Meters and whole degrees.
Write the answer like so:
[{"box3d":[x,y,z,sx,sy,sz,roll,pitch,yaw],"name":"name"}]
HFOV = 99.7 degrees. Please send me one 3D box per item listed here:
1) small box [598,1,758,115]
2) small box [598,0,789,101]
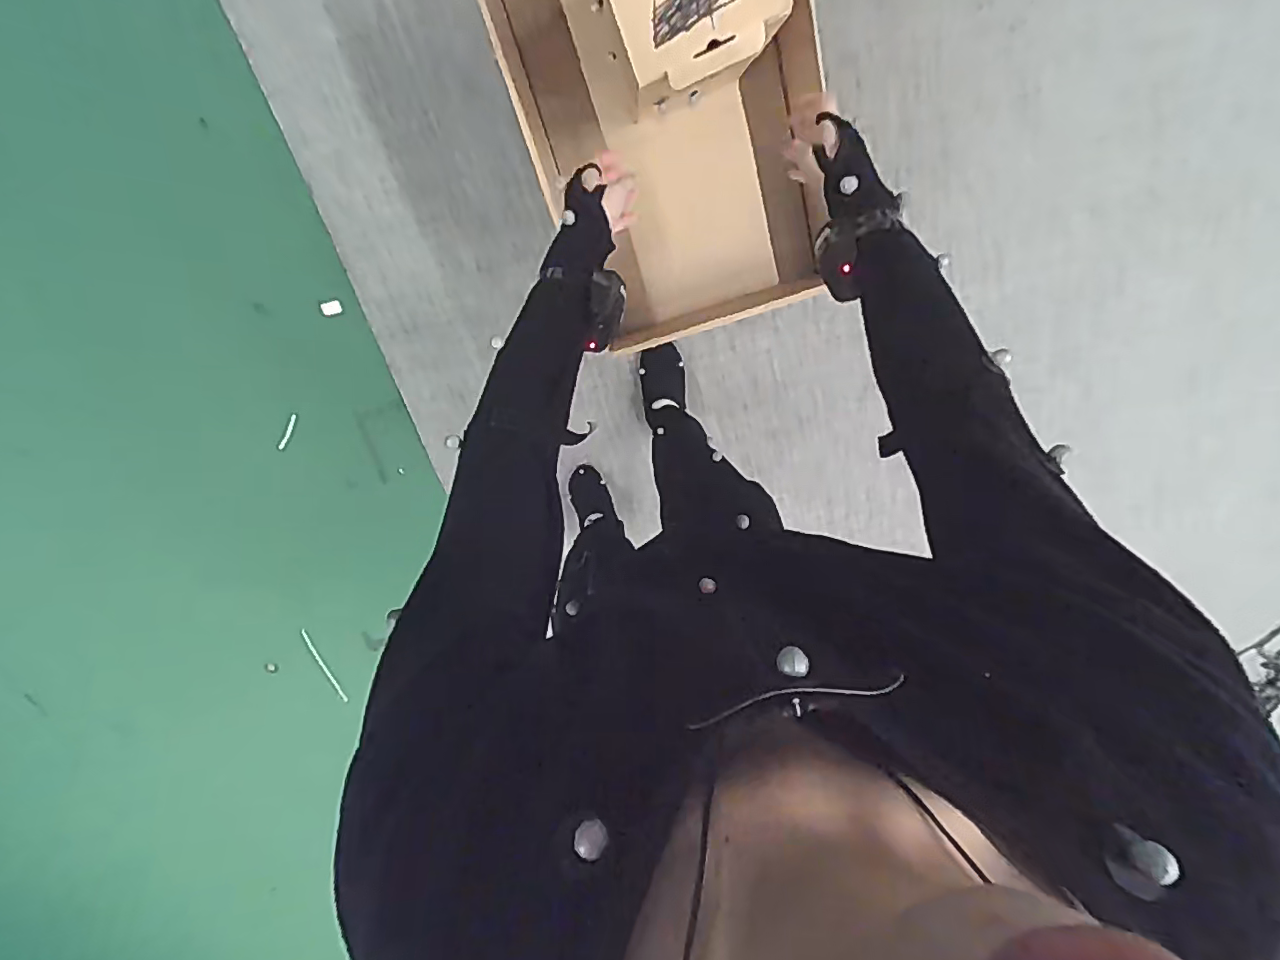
[{"box3d":[0.042,-0.614,0.718,0.168,0.176,0.179,-19,116,7],"name":"small box"},{"box3d":[0.040,-0.535,0.574,0.168,0.176,0.179,-20,114,9],"name":"small box"}]
